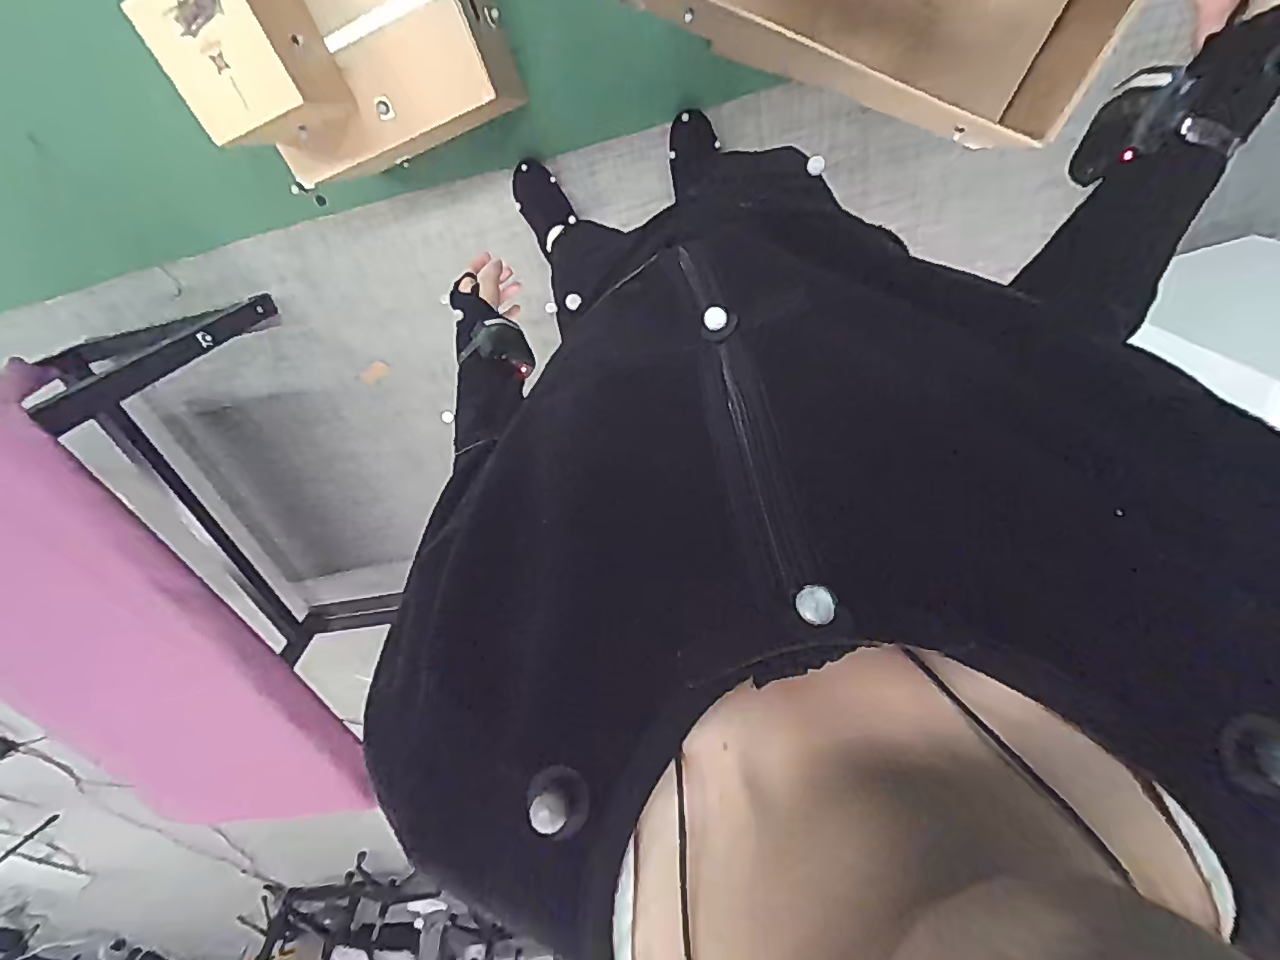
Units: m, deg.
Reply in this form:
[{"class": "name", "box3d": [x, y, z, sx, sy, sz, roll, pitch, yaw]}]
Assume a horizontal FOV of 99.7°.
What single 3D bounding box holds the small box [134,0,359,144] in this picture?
[{"class": "small box", "box3d": [-0.574, -0.634, 0.817, 0.168, 0.176, 0.179, -16, 122, 12]}]
